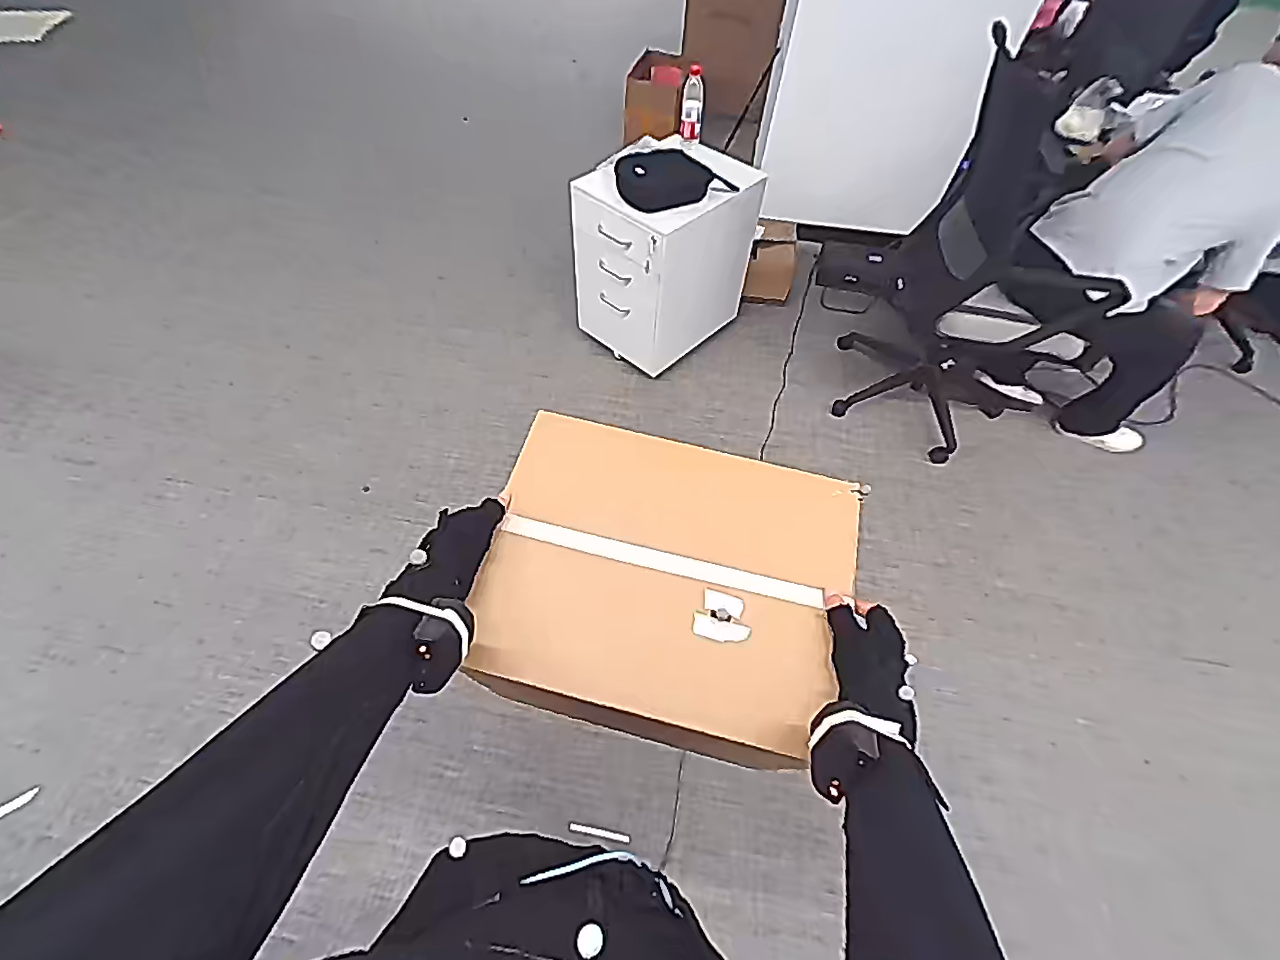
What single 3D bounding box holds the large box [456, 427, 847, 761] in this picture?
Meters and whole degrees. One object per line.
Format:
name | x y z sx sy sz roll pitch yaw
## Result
large box | 0.022 0.172 0.747 0.408 0.320 0.320 14 63 3
